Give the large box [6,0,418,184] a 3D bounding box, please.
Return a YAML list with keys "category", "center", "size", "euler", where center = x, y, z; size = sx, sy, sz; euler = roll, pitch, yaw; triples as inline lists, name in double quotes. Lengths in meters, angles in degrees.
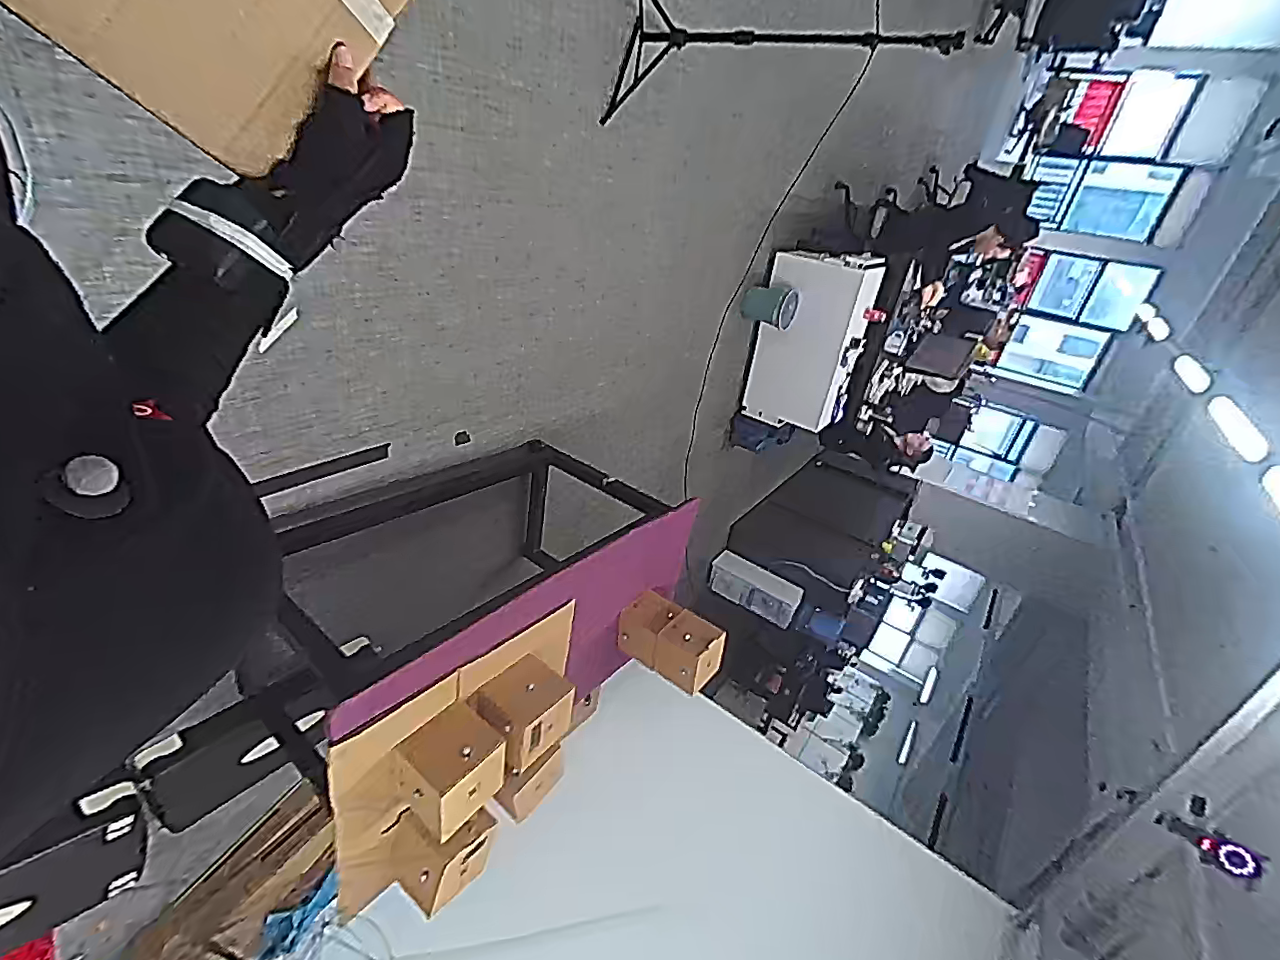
- category: "large box"
  center: [-0.381, -0.494, 0.334]
  size: [0.320, 0.320, 0.408]
  euler: [-48, 150, 4]
